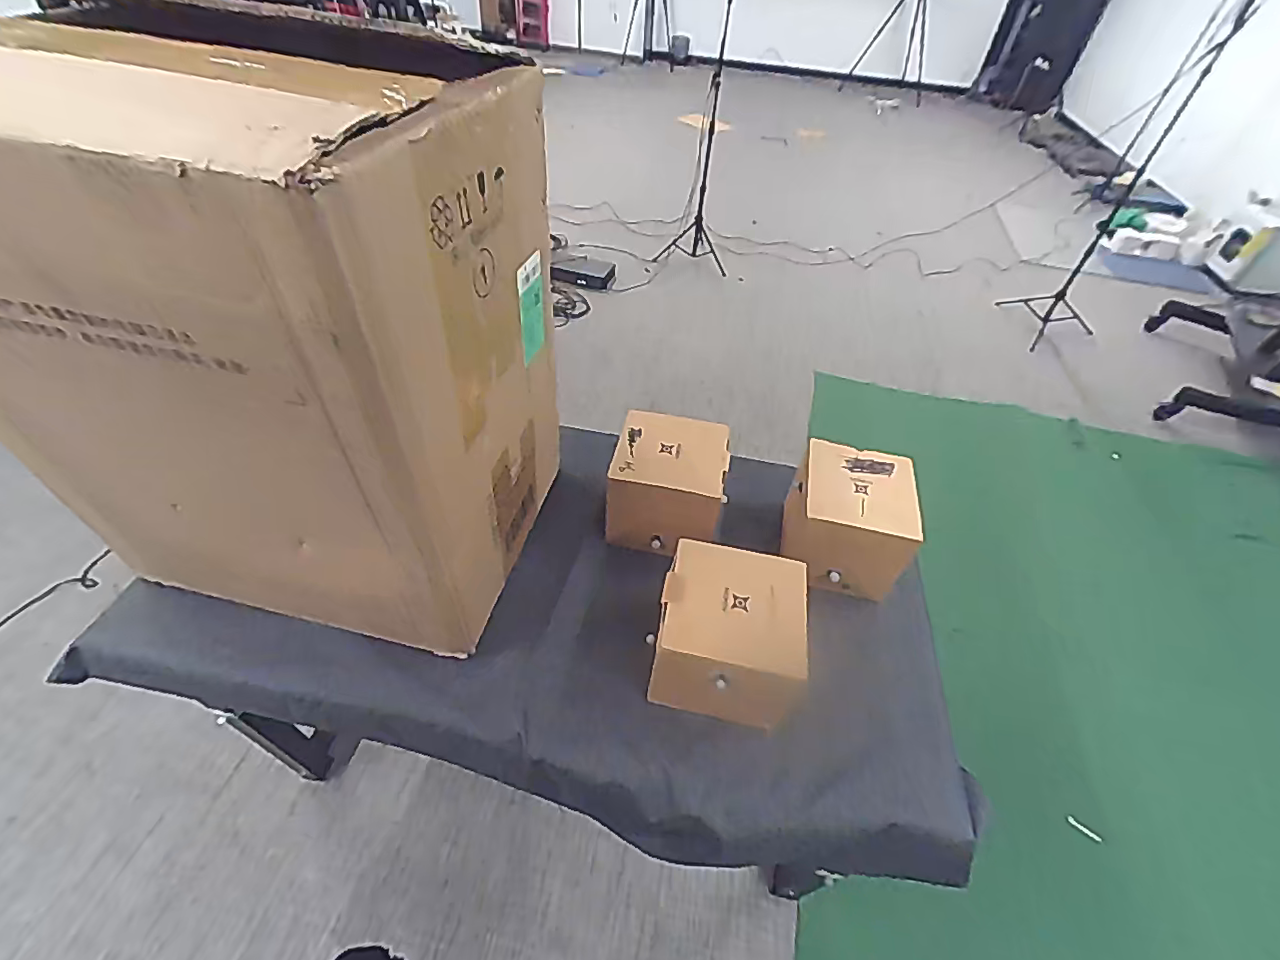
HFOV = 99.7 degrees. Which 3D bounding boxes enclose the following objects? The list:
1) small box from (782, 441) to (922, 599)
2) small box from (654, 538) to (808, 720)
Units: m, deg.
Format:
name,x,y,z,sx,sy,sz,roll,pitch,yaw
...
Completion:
name,x,y,z,sx,sy,sz,roll,pitch,yaw
small box,0.338,0.066,0.892,0.168,0.176,0.179,12,48,7
small box,0.120,0.207,0.742,0.179,0.176,0.168,12,48,5
